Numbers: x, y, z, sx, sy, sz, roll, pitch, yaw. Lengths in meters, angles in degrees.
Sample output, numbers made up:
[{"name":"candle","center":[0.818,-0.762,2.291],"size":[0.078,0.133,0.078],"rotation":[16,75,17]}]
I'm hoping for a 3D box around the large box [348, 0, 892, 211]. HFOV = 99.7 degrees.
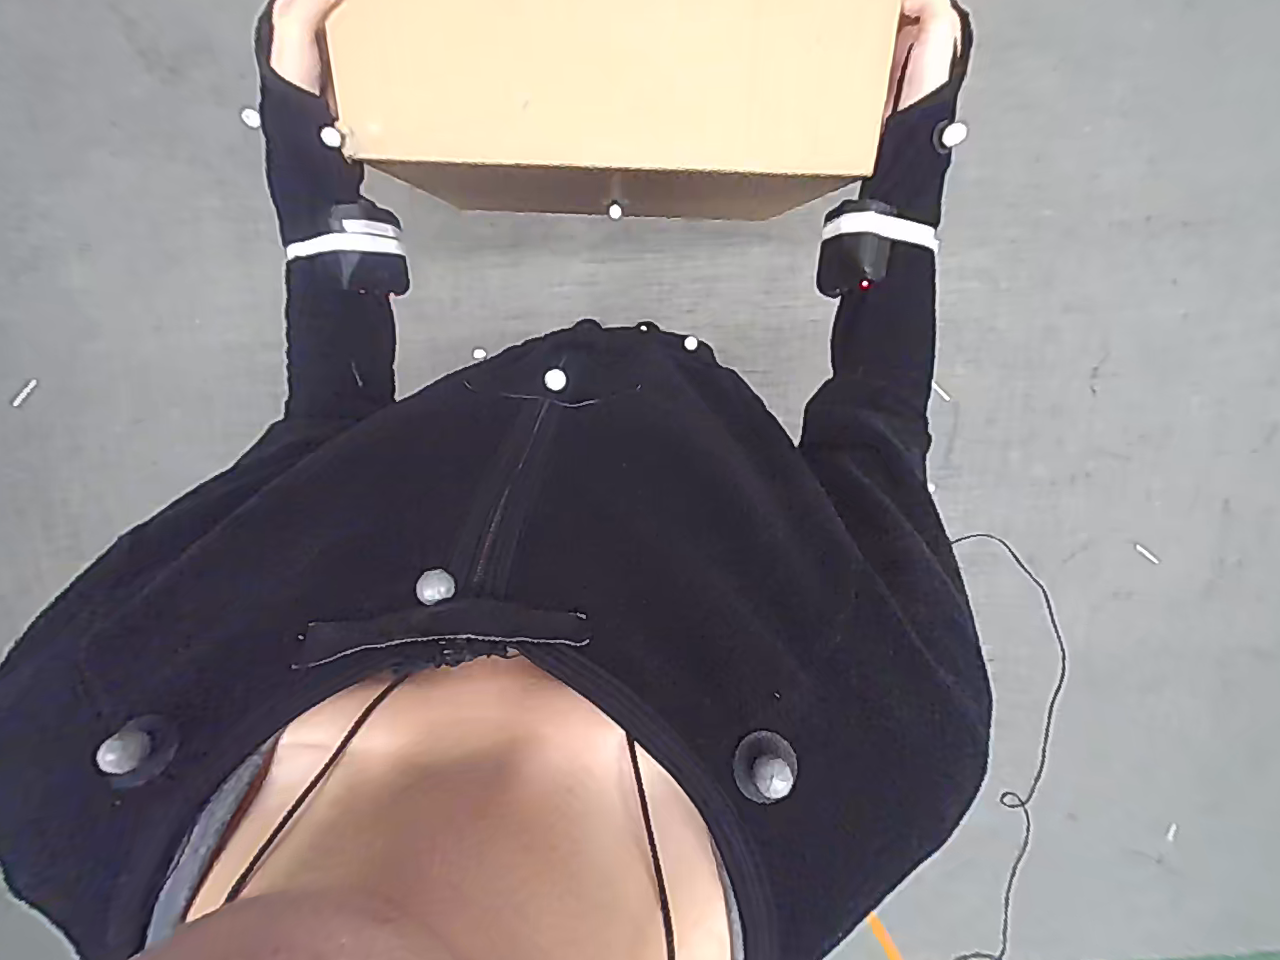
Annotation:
[{"name":"large box","center":[-0.014,-0.444,0.517],"size":[0.408,0.320,0.320],"rotation":[1,109,-2]}]
